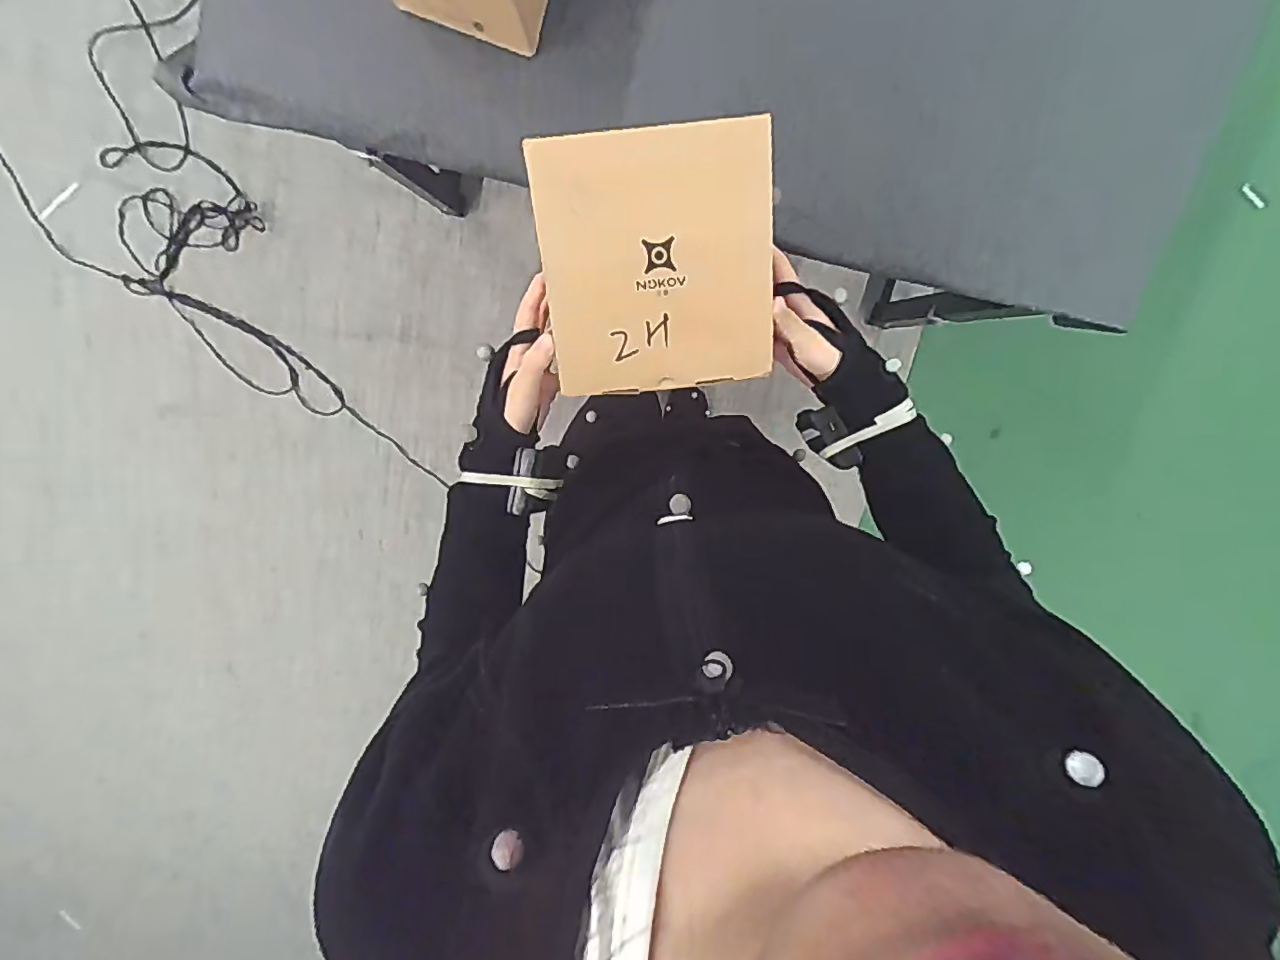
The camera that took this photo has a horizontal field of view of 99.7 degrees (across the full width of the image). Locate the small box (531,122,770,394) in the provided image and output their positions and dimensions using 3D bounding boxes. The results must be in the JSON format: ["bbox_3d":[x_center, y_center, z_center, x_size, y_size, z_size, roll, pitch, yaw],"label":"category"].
[{"bbox_3d":[0.008,-0.181,0.465,0.168,0.176,0.179,-5,111,0],"label":"small box"}]
